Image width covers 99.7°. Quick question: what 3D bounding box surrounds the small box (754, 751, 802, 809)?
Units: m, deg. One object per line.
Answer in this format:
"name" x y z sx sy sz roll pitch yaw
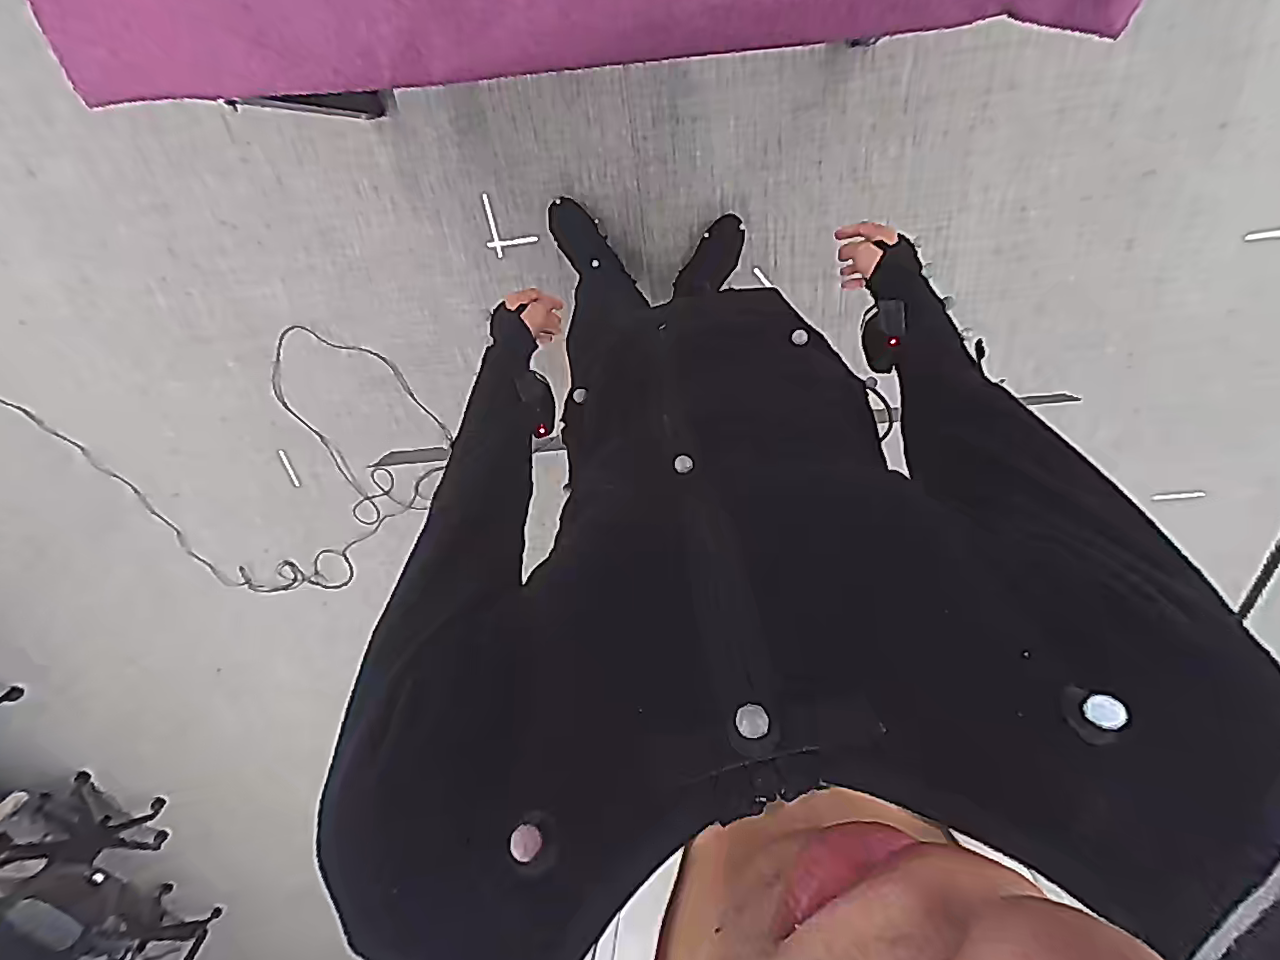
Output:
"small box" 0.577 1.263 2.255 0.168 0.176 0.179 -10 120 6

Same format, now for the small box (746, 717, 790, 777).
"small box" 0.572 1.184 2.399 0.168 0.176 0.179 -11 120 7

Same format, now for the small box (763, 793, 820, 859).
"small box" 0.589 1.354 2.121 0.179 0.176 0.168 -5 121 3
